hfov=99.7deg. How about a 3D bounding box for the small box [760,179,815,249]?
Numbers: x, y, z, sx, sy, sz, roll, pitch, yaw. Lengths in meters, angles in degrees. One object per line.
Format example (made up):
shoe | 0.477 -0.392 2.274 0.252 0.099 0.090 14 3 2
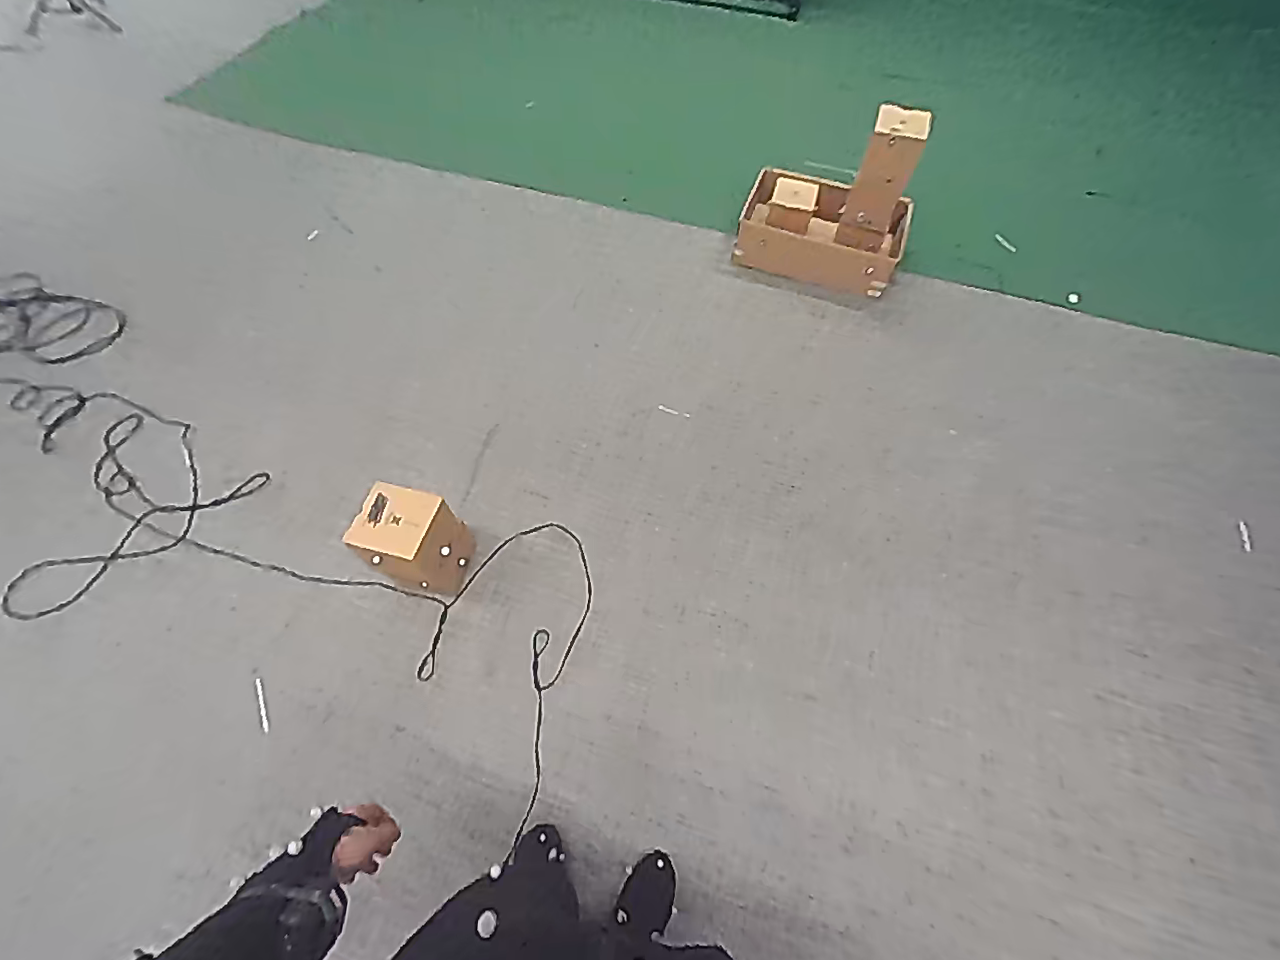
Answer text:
small box | 0.591 -1.071 2.181 0.168 0.176 0.179 15 61 6

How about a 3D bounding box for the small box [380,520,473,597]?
small box | -0.573 0.203 1.457 0.179 0.176 0.168 9 59 5

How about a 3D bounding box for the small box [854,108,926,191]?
small box | 0.845 -1.123 1.837 0.168 0.176 0.179 17 60 10

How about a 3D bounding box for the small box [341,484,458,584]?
small box | -0.571 0.135 1.307 0.179 0.176 0.168 13 60 6

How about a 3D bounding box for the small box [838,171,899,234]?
small box | 0.844 -1.041 1.980 0.168 0.176 0.179 19 63 11
